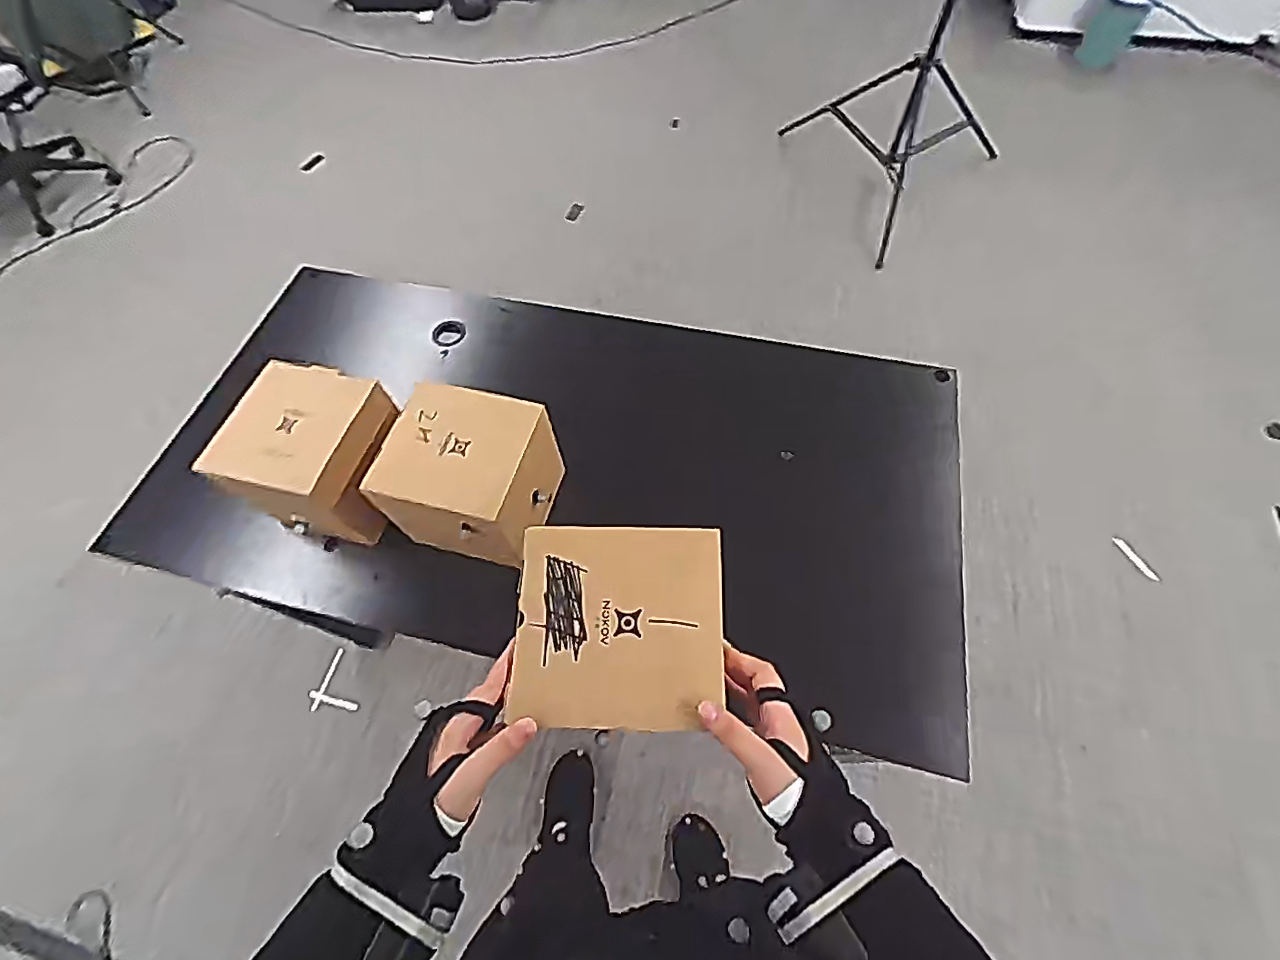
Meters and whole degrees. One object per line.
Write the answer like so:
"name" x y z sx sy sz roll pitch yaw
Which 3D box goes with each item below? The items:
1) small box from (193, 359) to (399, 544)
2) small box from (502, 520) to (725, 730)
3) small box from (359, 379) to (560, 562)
"small box" -0.435 -0.034 0.742 0.168 0.176 0.179 10 64 9
"small box" -0.013 0.145 0.518 0.179 0.176 0.168 1 66 4
"small box" -0.218 -0.005 0.715 0.179 0.176 0.168 12 63 9
